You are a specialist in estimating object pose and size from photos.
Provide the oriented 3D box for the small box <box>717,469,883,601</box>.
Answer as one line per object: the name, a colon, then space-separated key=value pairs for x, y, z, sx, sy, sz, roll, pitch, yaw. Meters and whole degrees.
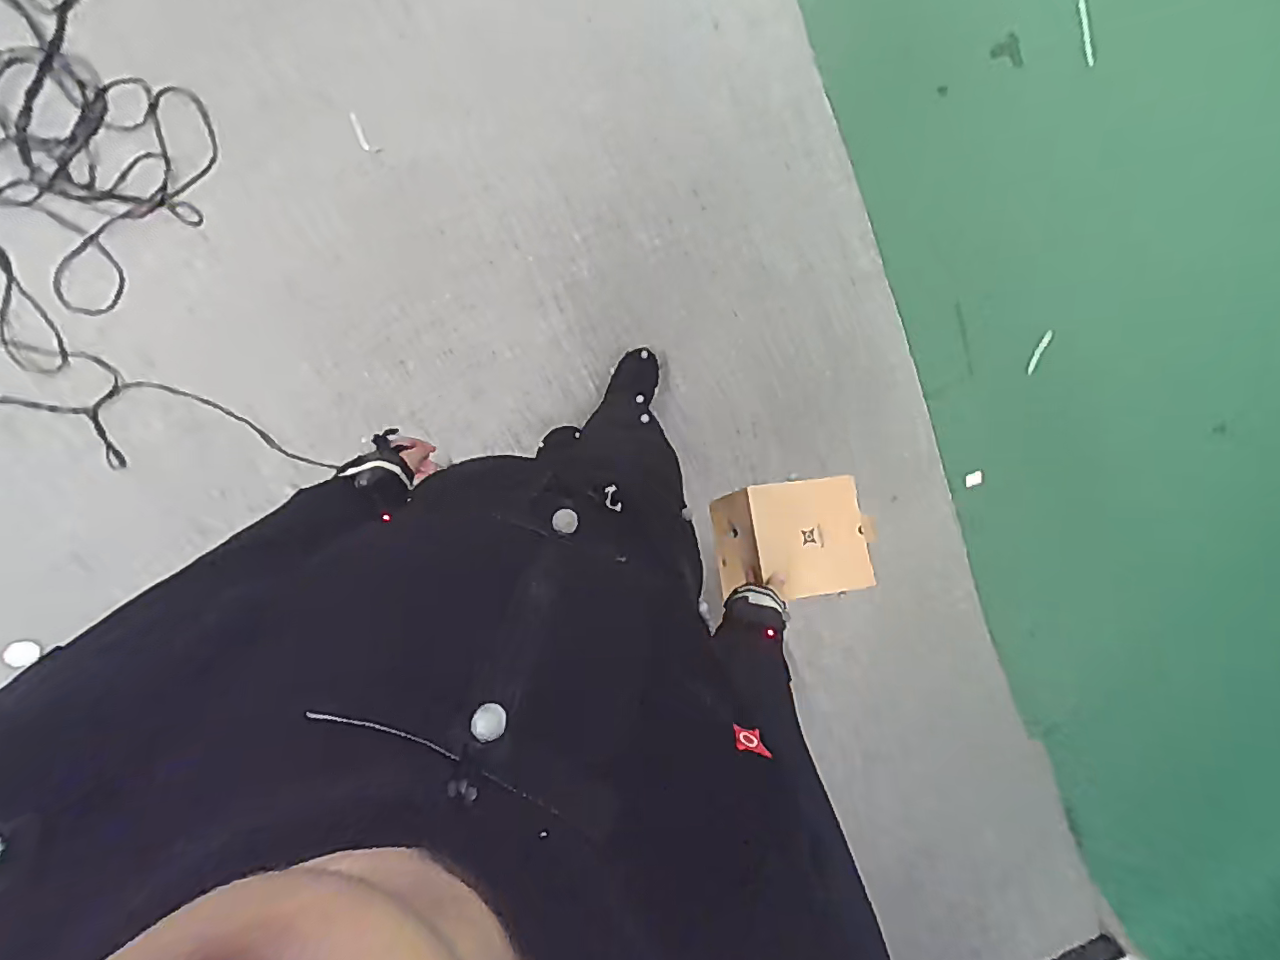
small box: x=0.229 y=0.090 z=0.830 sx=0.179 sy=0.176 sz=0.168 roll=-7 pitch=79 yaw=-14
